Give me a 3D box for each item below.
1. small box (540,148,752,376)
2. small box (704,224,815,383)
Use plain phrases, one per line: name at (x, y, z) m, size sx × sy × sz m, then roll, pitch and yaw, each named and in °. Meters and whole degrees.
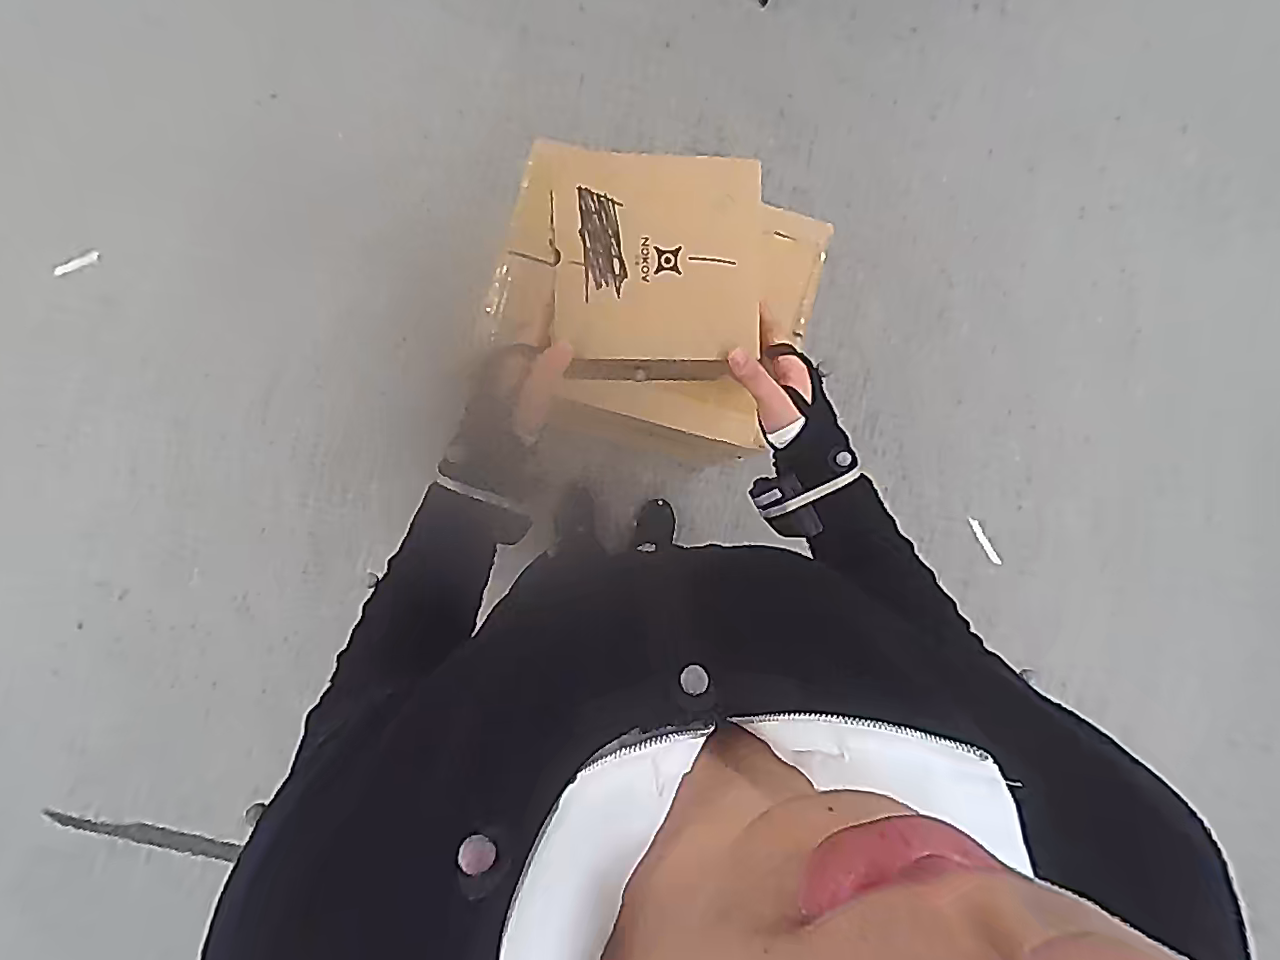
small box at (0.001, -0.193, 0.526) m, size 0.179 × 0.176 × 0.168 m, roll -2°, pitch 95°, yaw -5°
small box at (0.139, -0.263, 0.816) m, size 0.168 × 0.176 × 0.179 m, roll 16°, pitch 90°, yaw 0°
